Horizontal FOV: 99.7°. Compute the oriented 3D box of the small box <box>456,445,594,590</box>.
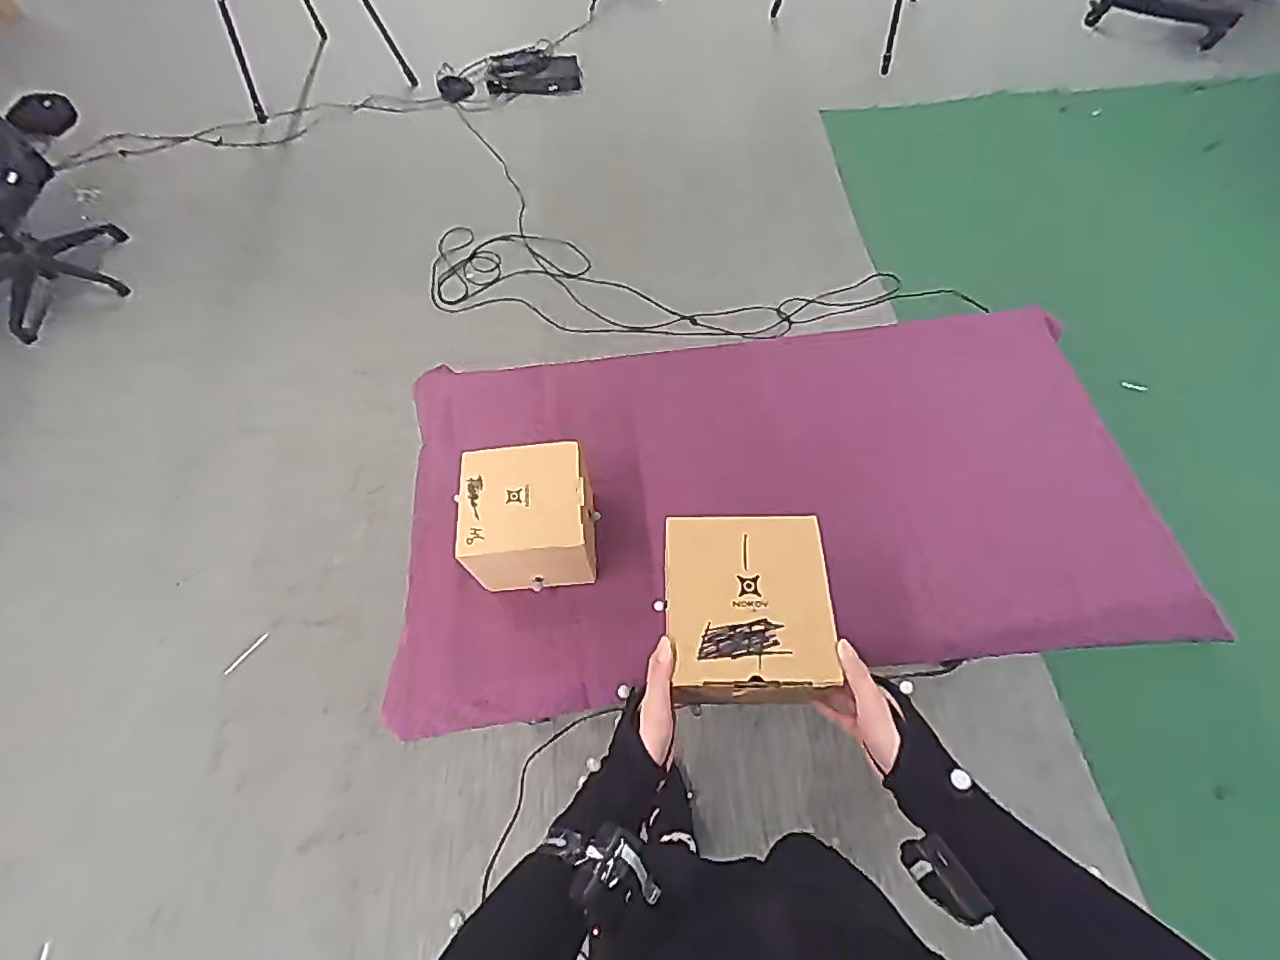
[{"bbox_3d":[-0.161,0.062,0.821,0.179,0.176,0.168,-4,62,-1],"label":"small box"}]

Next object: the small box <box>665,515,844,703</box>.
[{"bbox_3d":[0.114,0.153,0.614,0.168,0.176,0.179,0,61,1],"label":"small box"}]
